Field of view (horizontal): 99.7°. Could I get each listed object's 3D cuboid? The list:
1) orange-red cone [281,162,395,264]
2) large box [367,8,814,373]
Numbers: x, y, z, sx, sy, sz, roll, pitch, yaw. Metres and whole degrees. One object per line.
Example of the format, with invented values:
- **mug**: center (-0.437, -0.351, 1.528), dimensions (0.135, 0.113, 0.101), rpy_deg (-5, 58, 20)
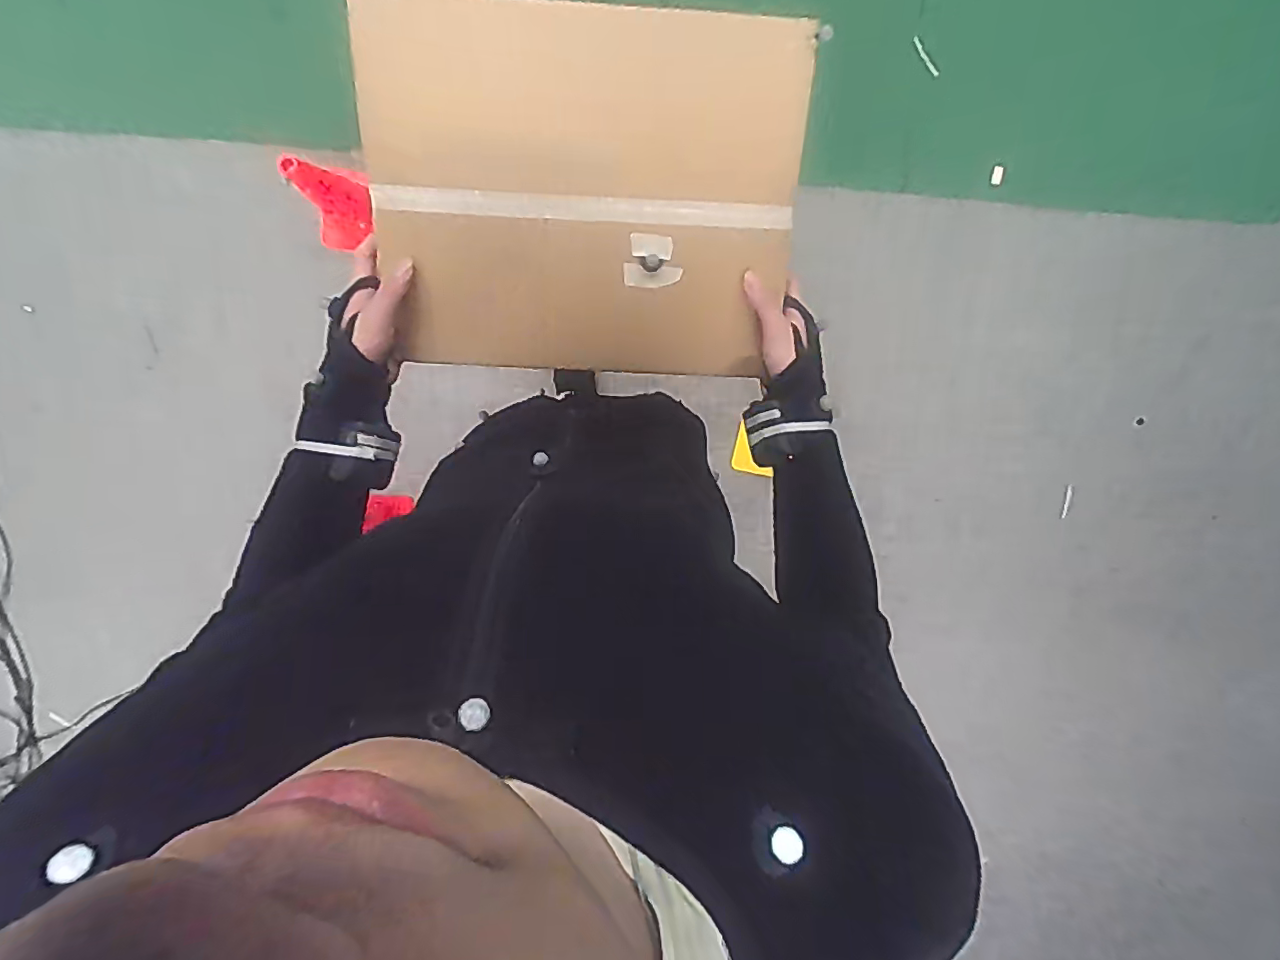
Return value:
- **orange-red cone**: center (-0.726, -0.660, 1.274), dimensions (0.199, 0.360, 0.198), rpy_deg (9, 100, -4)
- **large box**: center (-0.052, -0.316, 0.669), dimensions (0.408, 0.320, 0.320), rpy_deg (2, 112, -3)
